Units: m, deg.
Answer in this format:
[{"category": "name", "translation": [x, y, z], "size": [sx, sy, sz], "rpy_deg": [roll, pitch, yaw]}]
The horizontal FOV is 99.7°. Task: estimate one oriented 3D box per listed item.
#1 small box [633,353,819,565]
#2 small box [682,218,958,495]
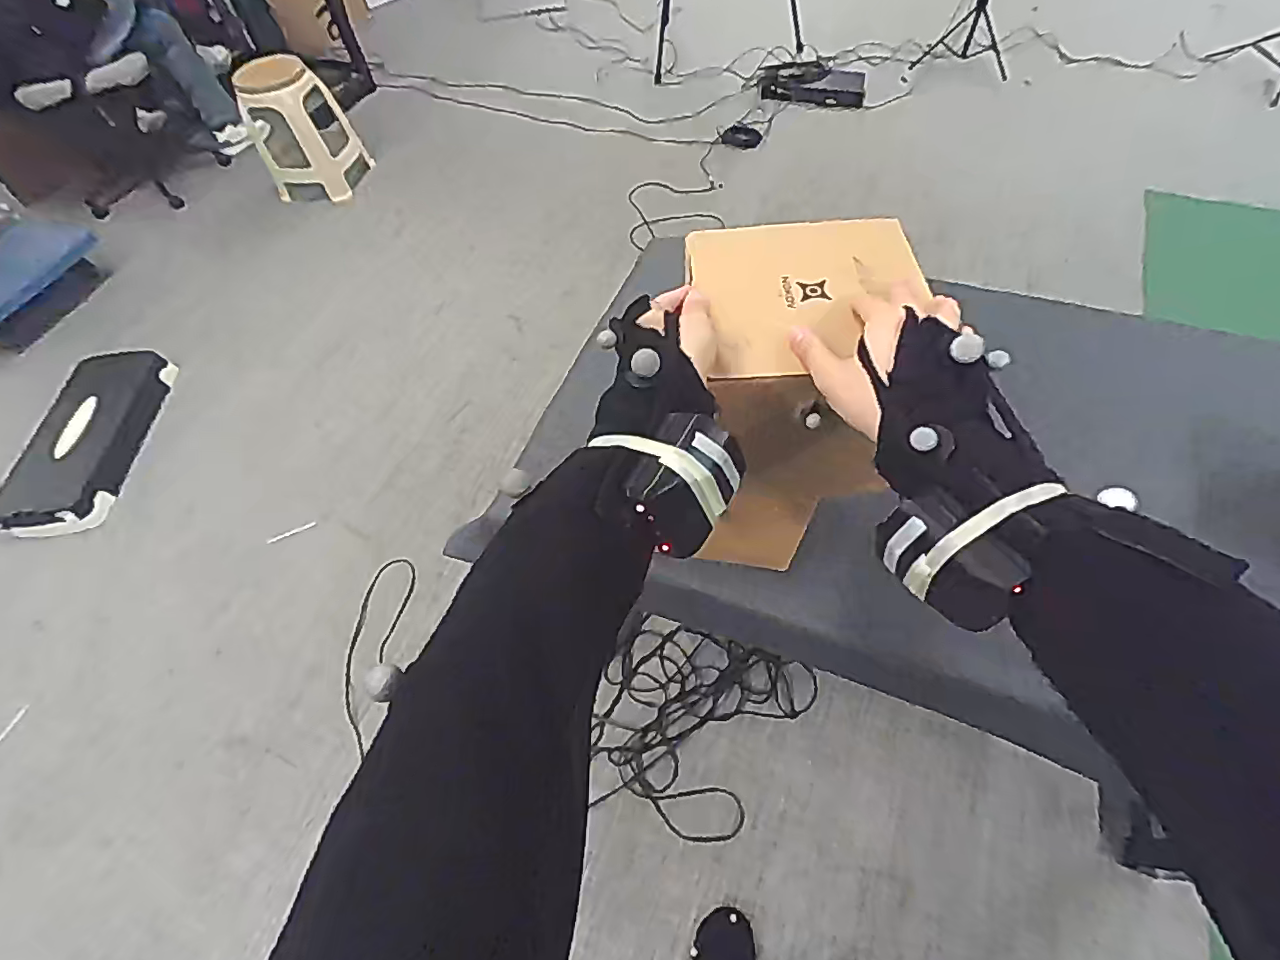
[{"category": "small box", "translation": [0.099, -0.017, 0.612], "size": [0.179, 0.176, 0.168], "rpy_deg": [8, 58, 10]}, {"category": "small box", "translation": [0.128, -0.097, 0.468], "size": [0.179, 0.176, 0.168], "rpy_deg": [-3, 58, 2]}]
